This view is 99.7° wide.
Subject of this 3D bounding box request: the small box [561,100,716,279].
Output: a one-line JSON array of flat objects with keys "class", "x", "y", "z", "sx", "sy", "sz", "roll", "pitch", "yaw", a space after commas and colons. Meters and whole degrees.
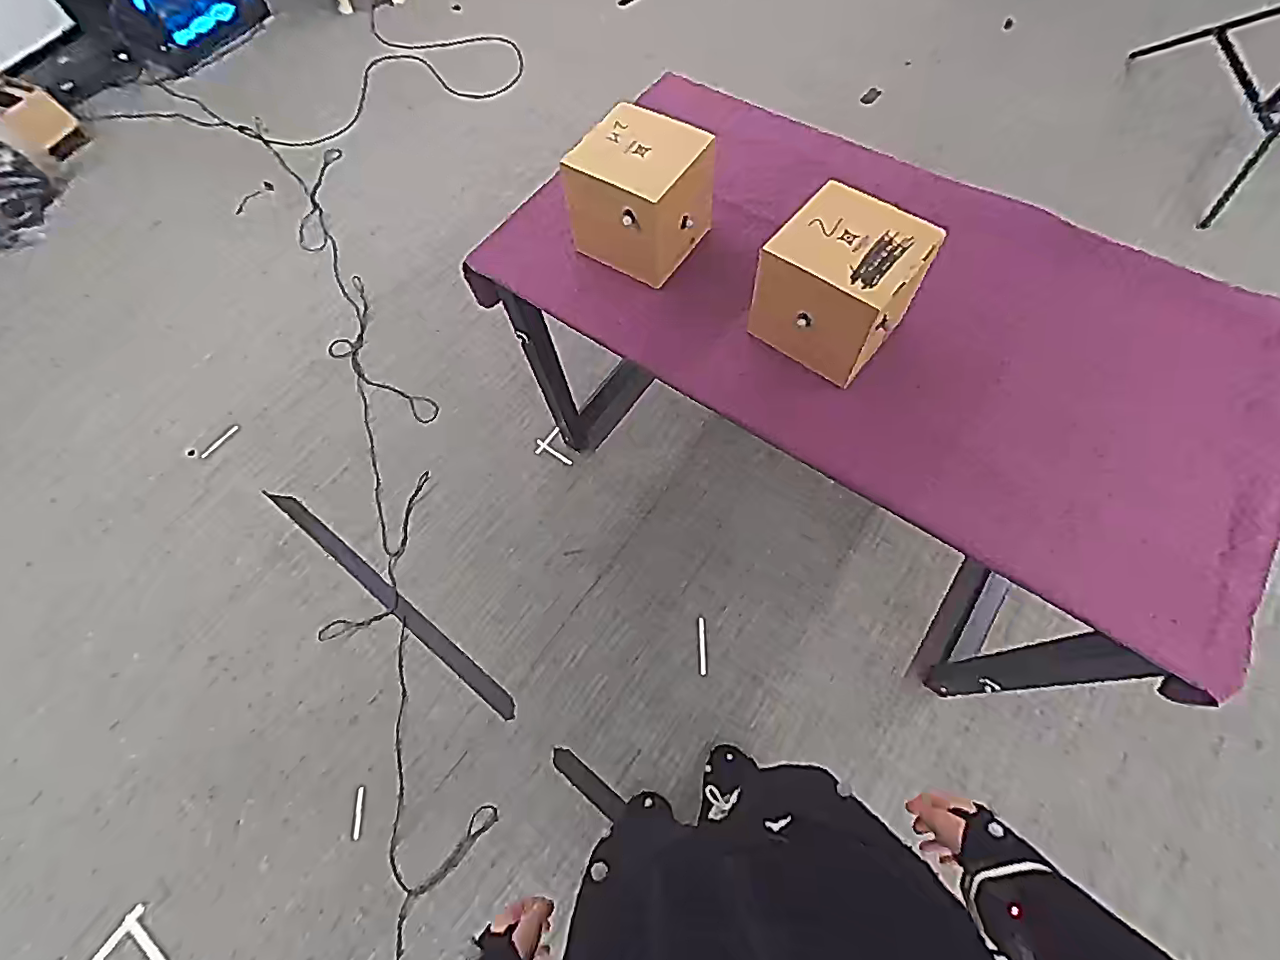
[{"class": "small box", "x": 0.003, "y": -0.455, "z": 0.868, "sx": 0.179, "sy": 0.176, "sz": 0.168, "roll": 31, "pitch": 71, "yaw": 16}]
